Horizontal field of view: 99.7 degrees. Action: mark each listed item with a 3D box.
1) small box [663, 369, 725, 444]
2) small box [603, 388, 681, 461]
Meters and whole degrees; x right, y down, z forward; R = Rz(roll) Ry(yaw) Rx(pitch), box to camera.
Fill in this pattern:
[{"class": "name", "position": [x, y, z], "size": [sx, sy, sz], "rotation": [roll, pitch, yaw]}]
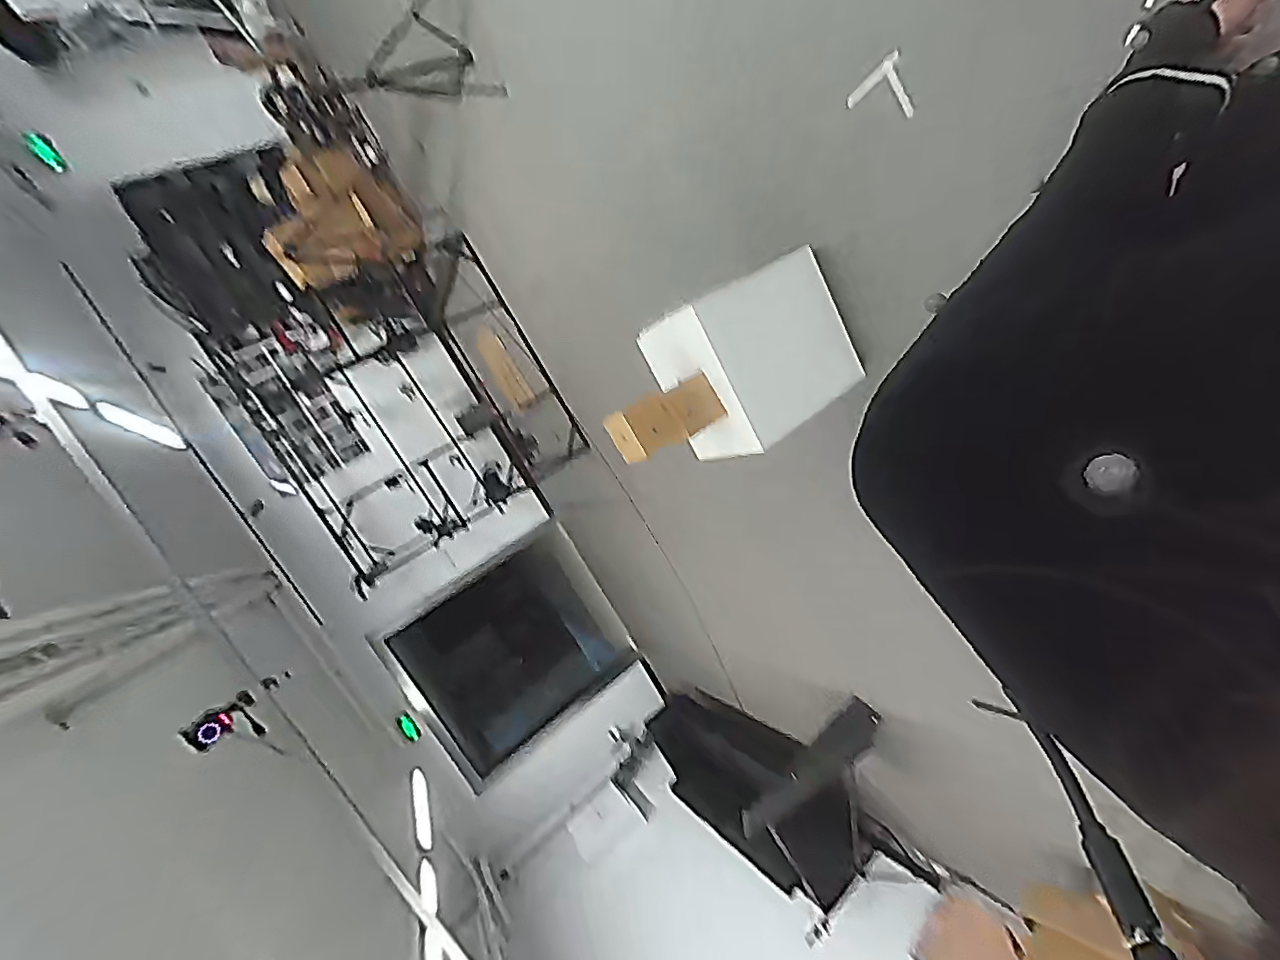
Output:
[{"class": "small box", "position": [0.154, -0.246, 1.815], "size": [0.179, 0.176, 0.168], "rotation": [59, 157, -5]}, {"class": "small box", "position": [0.012, -0.181, 1.762], "size": [0.168, 0.176, 0.179], "rotation": [59, 158, -8]}]
